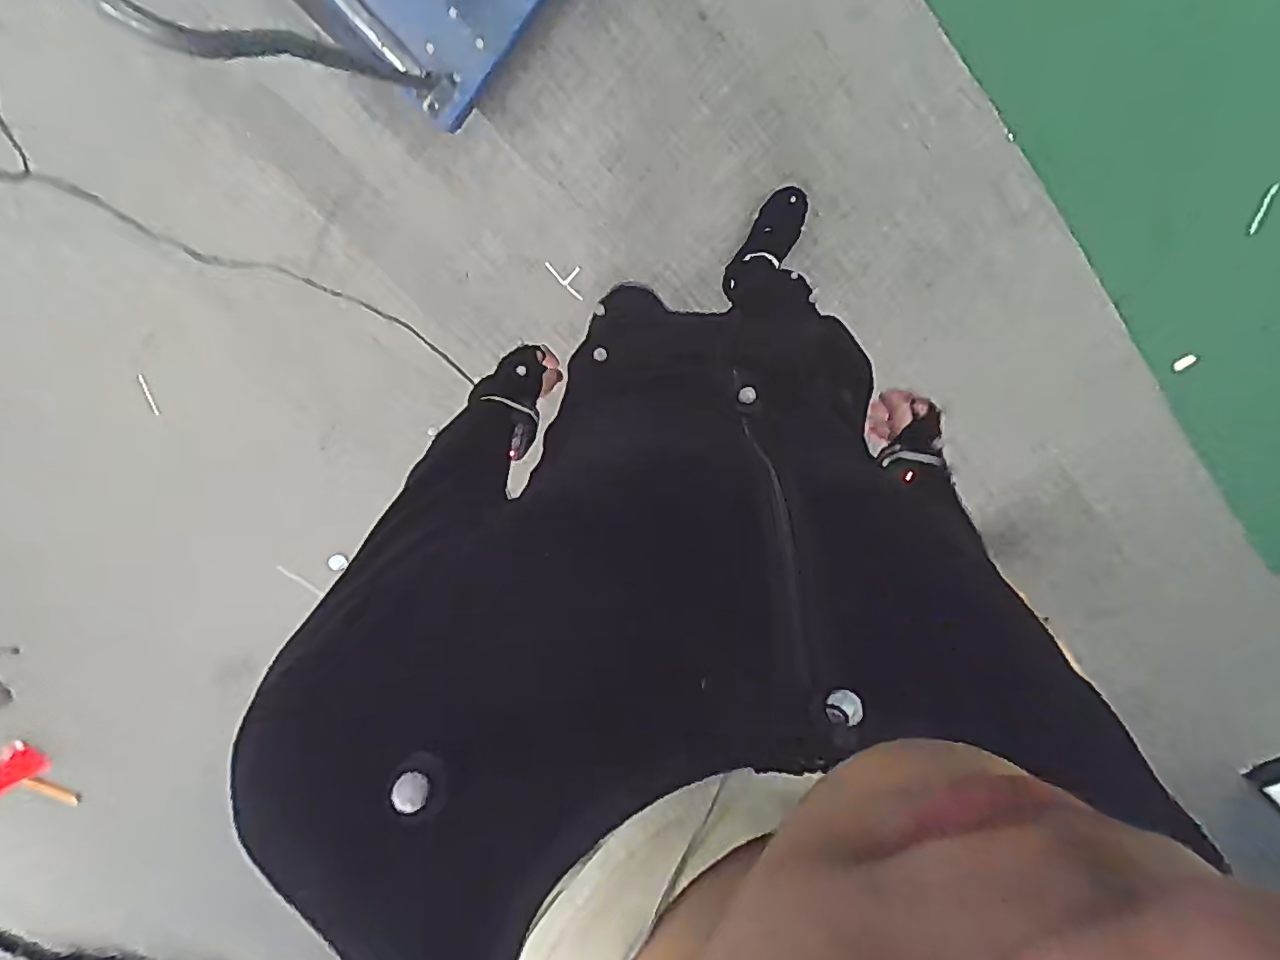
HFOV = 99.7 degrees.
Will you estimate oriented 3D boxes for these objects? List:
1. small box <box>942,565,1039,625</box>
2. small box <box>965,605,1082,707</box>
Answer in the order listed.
[{"bbox_3d":[1.024,0.373,1.581,0.168,0.176,0.179,-35,108,20],"label":"small box"},{"bbox_3d":[1.011,0.459,1.441,0.168,0.176,0.179,-36,109,20],"label":"small box"}]
